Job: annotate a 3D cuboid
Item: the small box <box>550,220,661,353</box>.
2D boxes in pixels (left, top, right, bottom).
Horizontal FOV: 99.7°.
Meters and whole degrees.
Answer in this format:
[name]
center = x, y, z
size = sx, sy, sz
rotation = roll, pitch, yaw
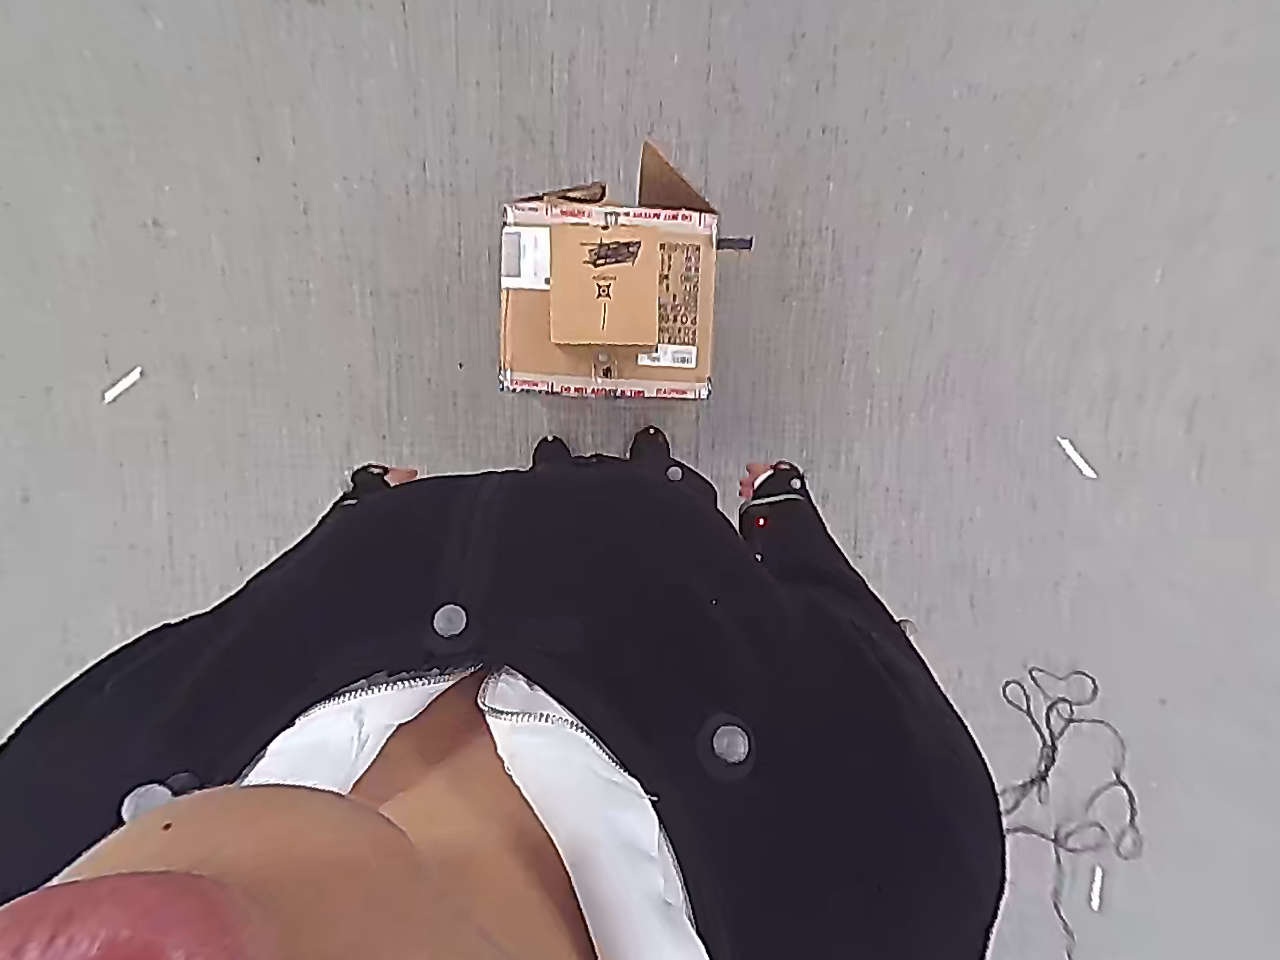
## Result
[small box]
center = -0.056, -0.308, 0.890
size = 0.168, 0.176, 0.179
rotation = 1, 99, -2
